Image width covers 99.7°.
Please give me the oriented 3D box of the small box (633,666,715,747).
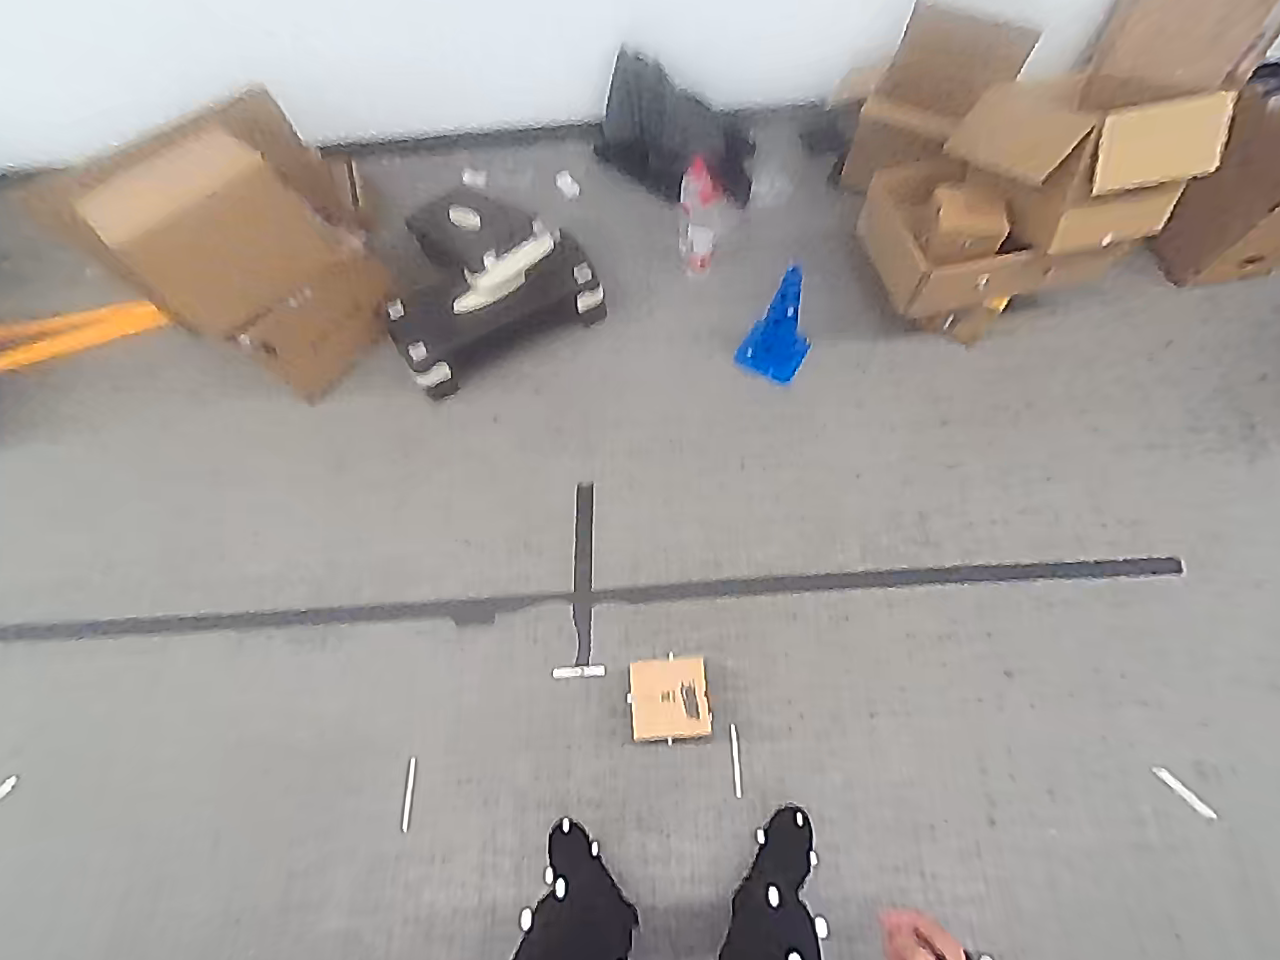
[{"bbox_3d":[0.079,0.541,1.296,0.179,0.176,0.168,-5,66,2],"label":"small box"}]
